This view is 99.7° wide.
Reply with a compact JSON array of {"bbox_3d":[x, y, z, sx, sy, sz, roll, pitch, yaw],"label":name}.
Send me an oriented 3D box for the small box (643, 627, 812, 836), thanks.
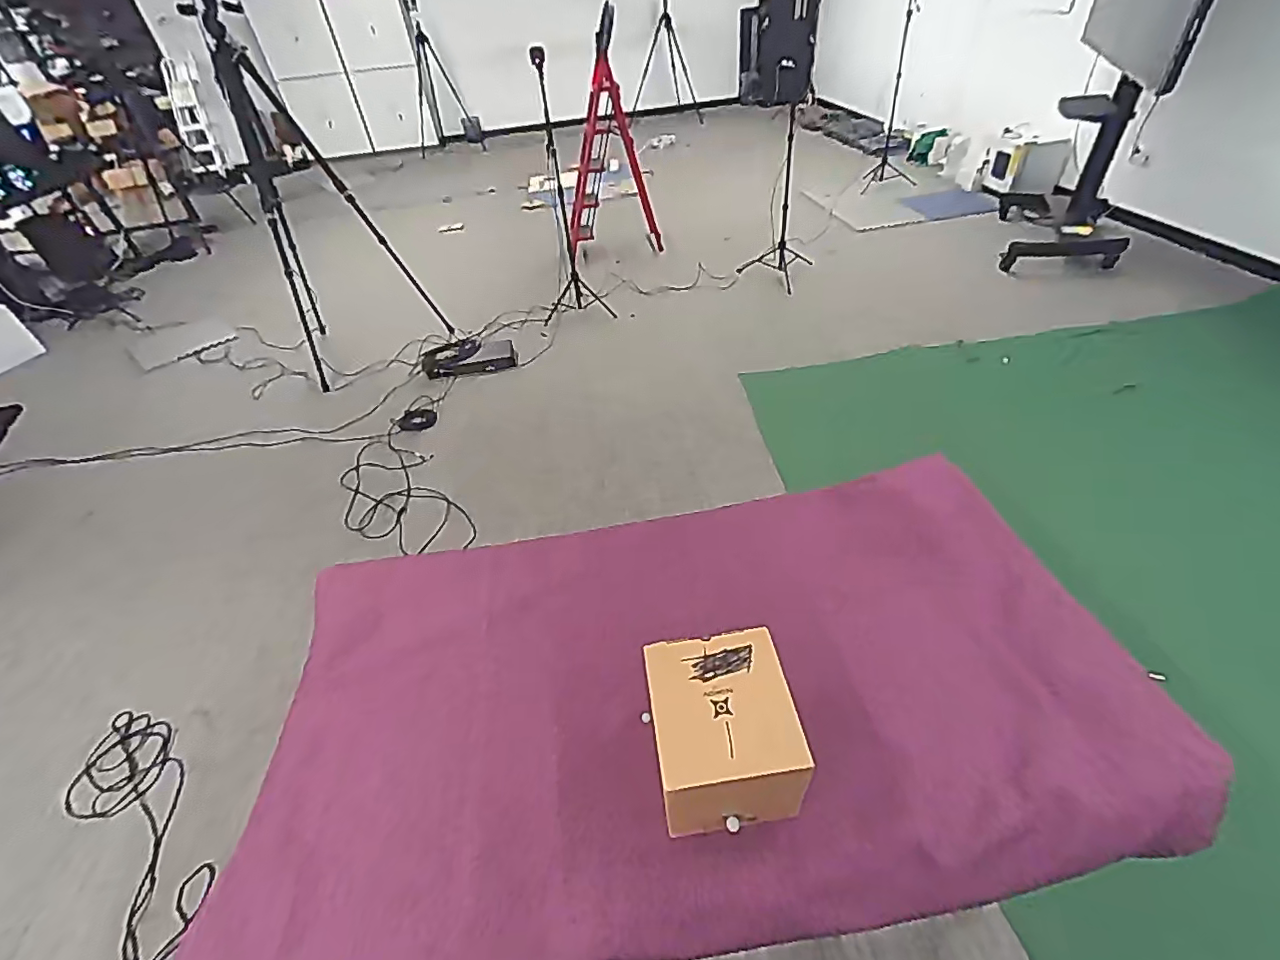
[{"bbox_3d":[0.098,0.314,0.679,0.168,0.176,0.179,-8,43,-1],"label":"small box"}]
